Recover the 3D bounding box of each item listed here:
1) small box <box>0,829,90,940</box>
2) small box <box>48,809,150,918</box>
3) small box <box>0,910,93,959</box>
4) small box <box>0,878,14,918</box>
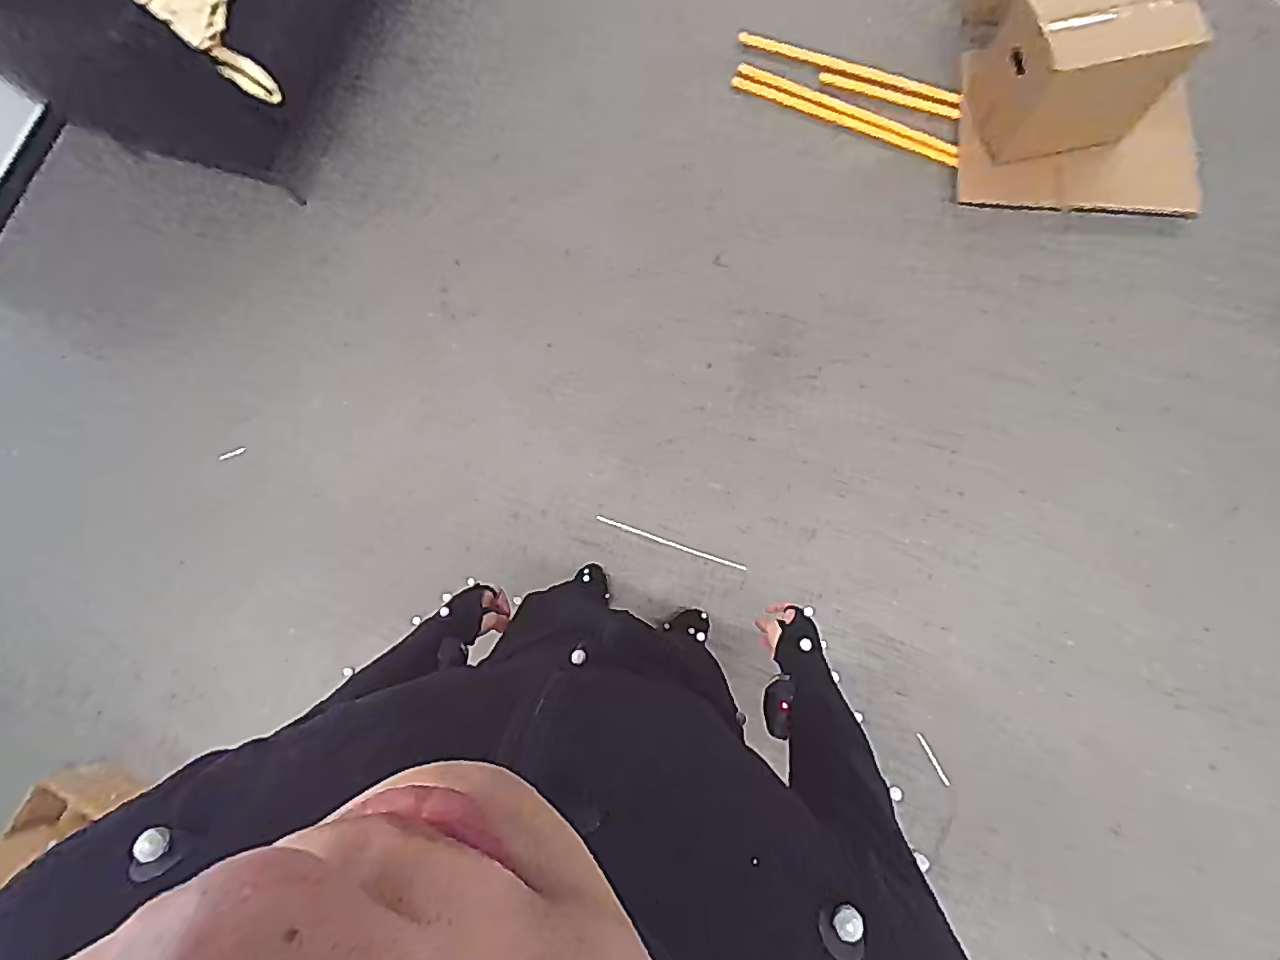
[{"bbox_3d":[-1.585,1.029,1.375,0.179,0.176,0.168,26,82,13],"label":"small box"},{"bbox_3d":[-1.569,1.070,1.532,0.179,0.176,0.168,24,82,11],"label":"small box"},{"bbox_3d":[-1.698,1.328,1.493,0.179,0.176,0.168,24,82,12],"label":"small box"},{"bbox_3d":[-1.606,0.996,1.216,0.179,0.176,0.168,26,83,12],"label":"small box"}]
